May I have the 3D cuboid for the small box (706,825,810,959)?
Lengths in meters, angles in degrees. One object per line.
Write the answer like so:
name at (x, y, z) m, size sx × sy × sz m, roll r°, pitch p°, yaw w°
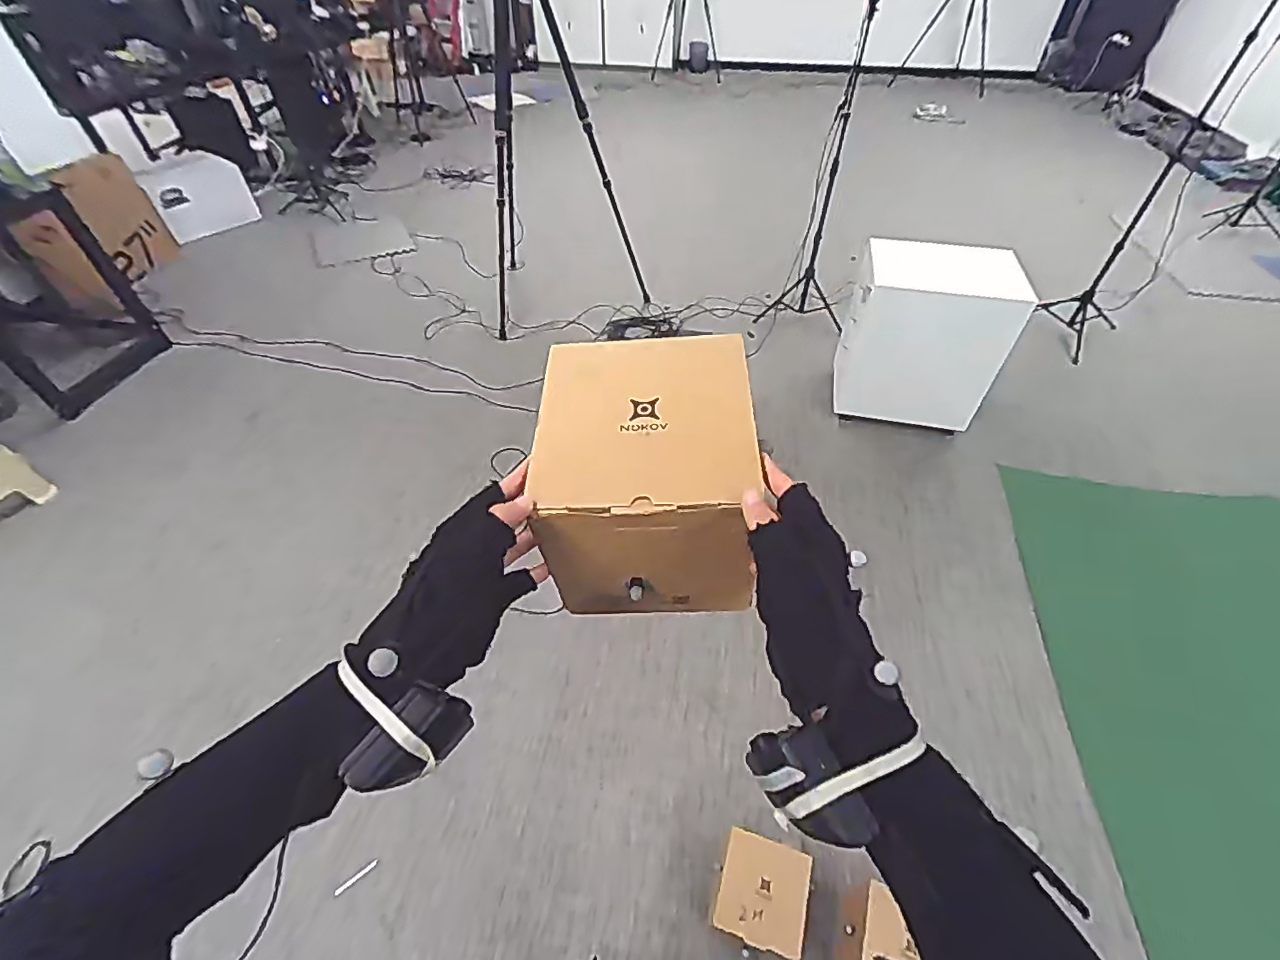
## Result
small box at (0.237, 0.852, 1.109) m, size 0.168 × 0.176 × 0.179 m, roll 14°, pitch 49°, yaw 14°
